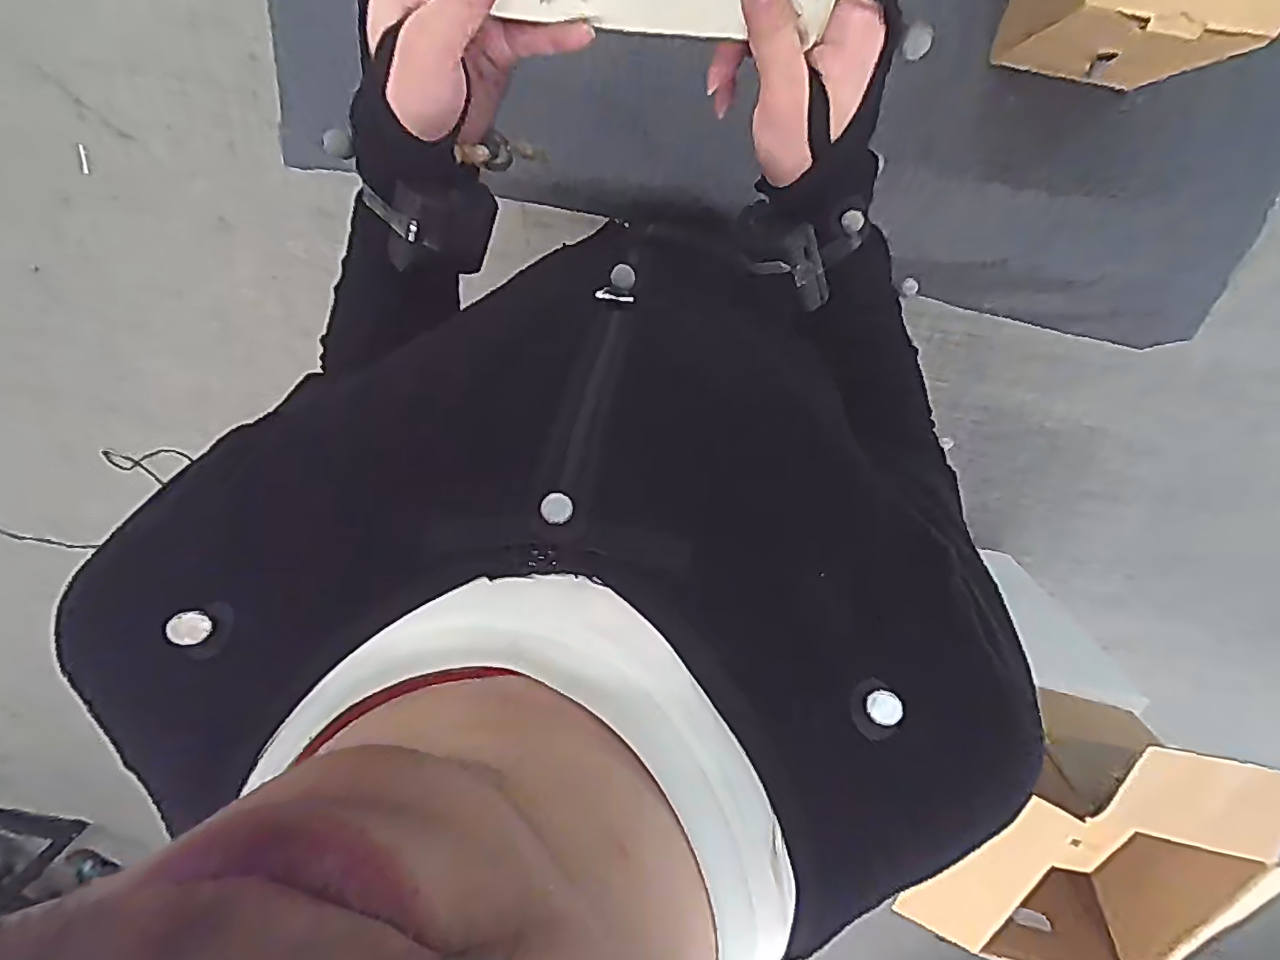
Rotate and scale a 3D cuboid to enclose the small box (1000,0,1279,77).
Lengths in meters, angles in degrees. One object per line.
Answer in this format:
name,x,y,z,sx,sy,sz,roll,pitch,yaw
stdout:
small box,0.475,-0.499,0.495,0.168,0.176,0.179,11,117,0
